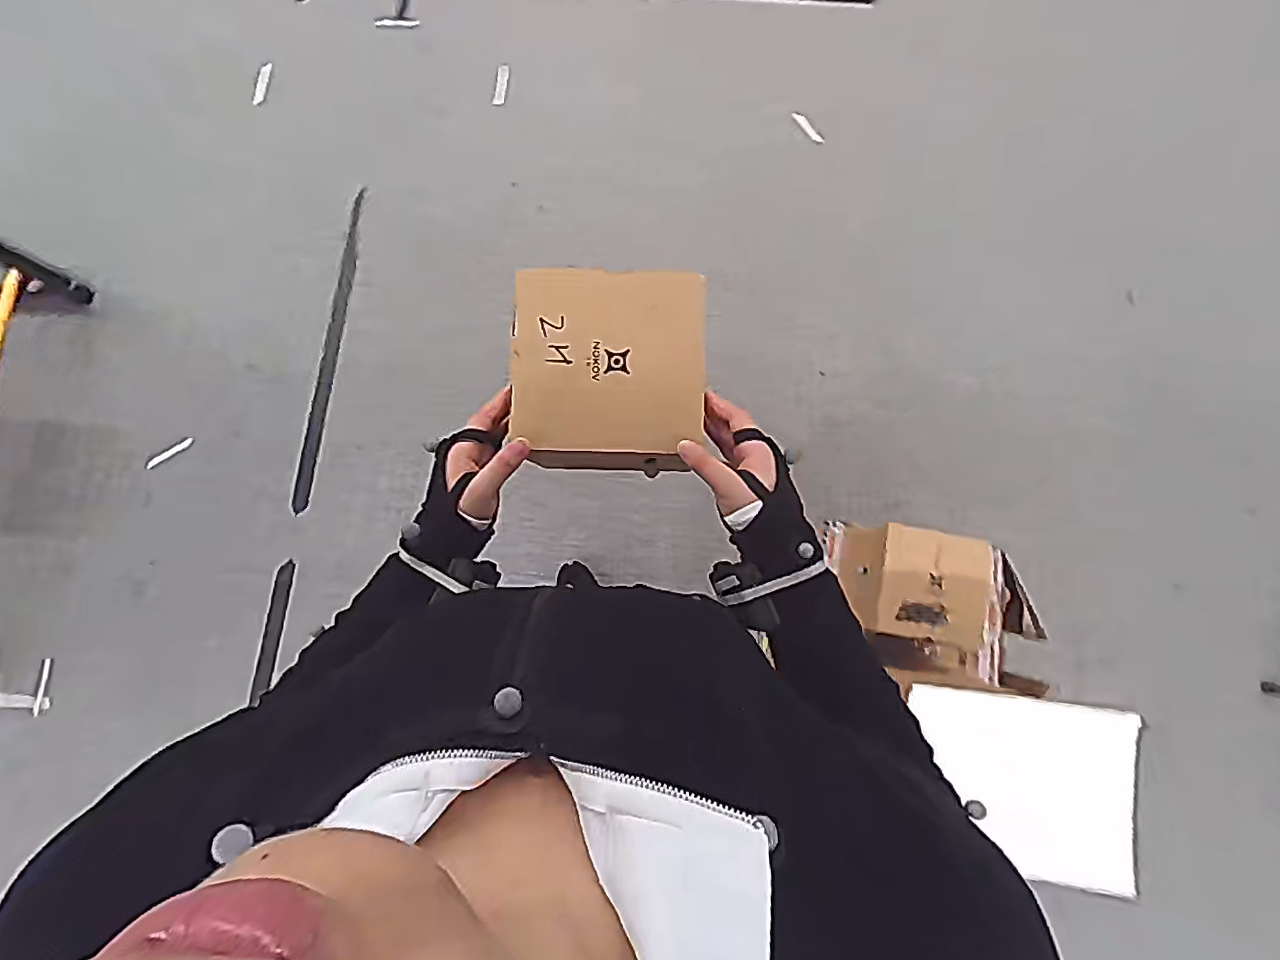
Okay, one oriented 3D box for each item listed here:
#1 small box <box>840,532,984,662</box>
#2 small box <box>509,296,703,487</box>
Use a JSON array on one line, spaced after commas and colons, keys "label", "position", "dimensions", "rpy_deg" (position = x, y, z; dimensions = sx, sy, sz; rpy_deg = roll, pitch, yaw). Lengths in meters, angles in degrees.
[{"label": "small box", "position": [0.466, 0.202, 0.950], "dimensions": [0.168, 0.176, 0.179], "rpy_deg": [12, 79, 5]}, {"label": "small box", "position": [-0.030, -0.082, 0.579], "dimensions": [0.179, 0.176, 0.168], "rpy_deg": [2, 85, 2]}]
